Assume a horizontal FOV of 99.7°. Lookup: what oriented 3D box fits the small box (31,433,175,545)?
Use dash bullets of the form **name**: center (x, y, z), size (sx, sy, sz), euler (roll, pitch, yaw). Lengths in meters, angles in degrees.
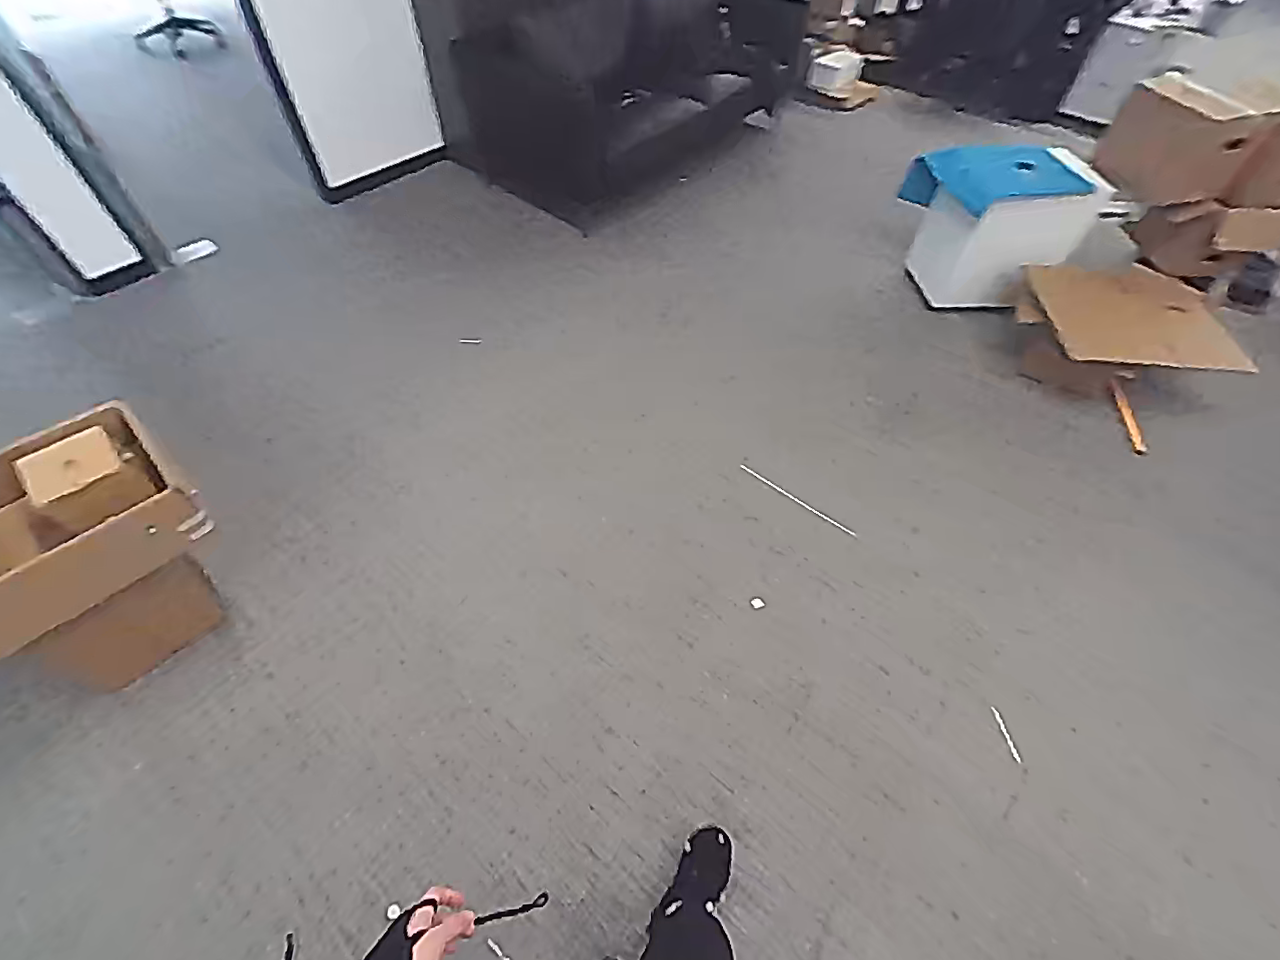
- **small box**: center (-1.296, 0.026, 1.315), size (0.168, 0.176, 0.179), euler (-38, 64, -26)
